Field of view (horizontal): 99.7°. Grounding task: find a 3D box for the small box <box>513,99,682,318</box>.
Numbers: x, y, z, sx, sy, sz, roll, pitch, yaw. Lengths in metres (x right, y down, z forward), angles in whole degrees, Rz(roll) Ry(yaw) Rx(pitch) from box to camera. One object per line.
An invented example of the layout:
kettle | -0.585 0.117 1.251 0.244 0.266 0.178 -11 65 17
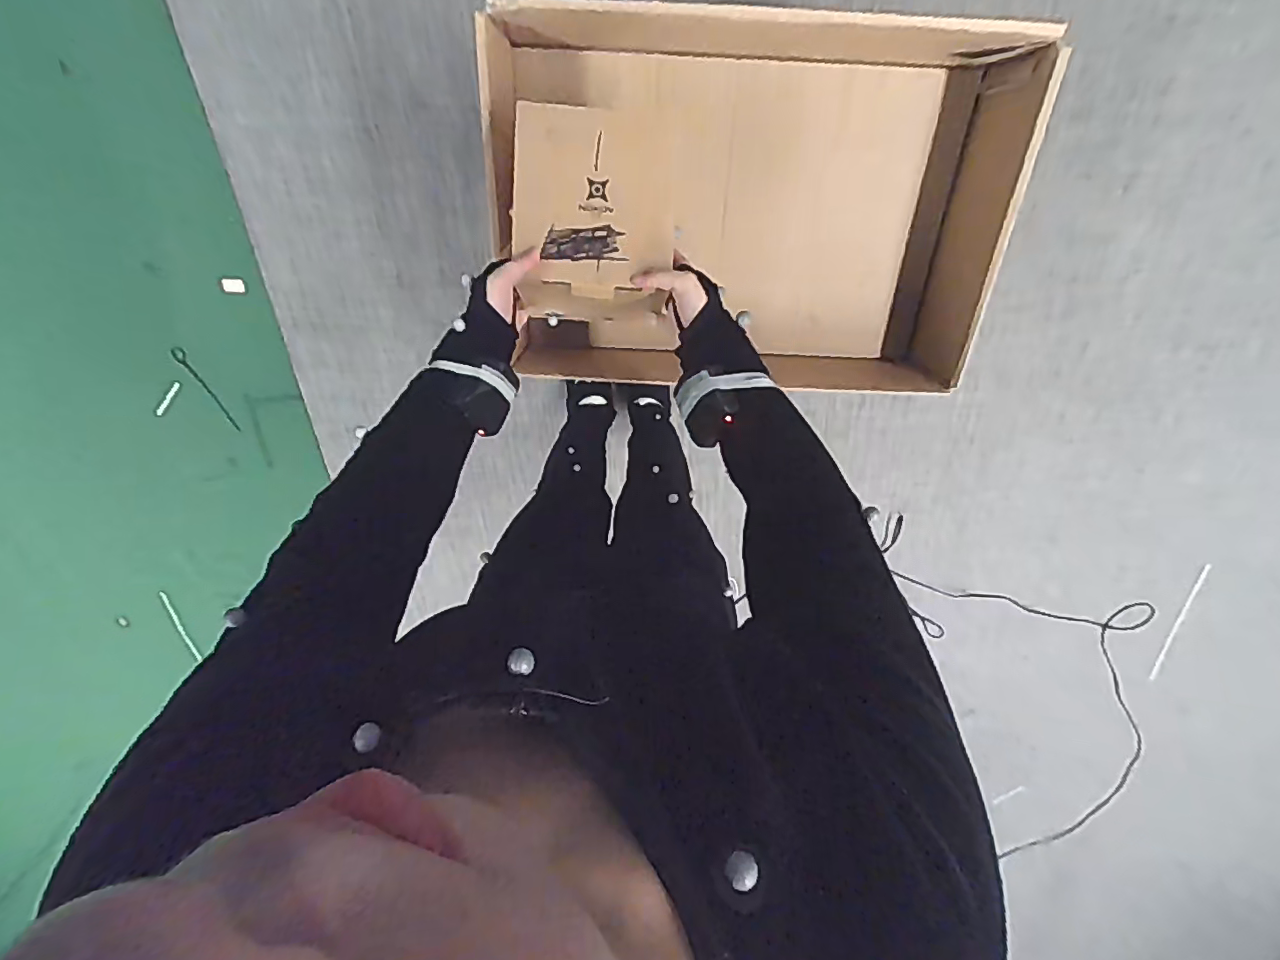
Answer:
small box | -0.049 -0.294 0.628 0.168 0.176 0.179 3 94 -6
